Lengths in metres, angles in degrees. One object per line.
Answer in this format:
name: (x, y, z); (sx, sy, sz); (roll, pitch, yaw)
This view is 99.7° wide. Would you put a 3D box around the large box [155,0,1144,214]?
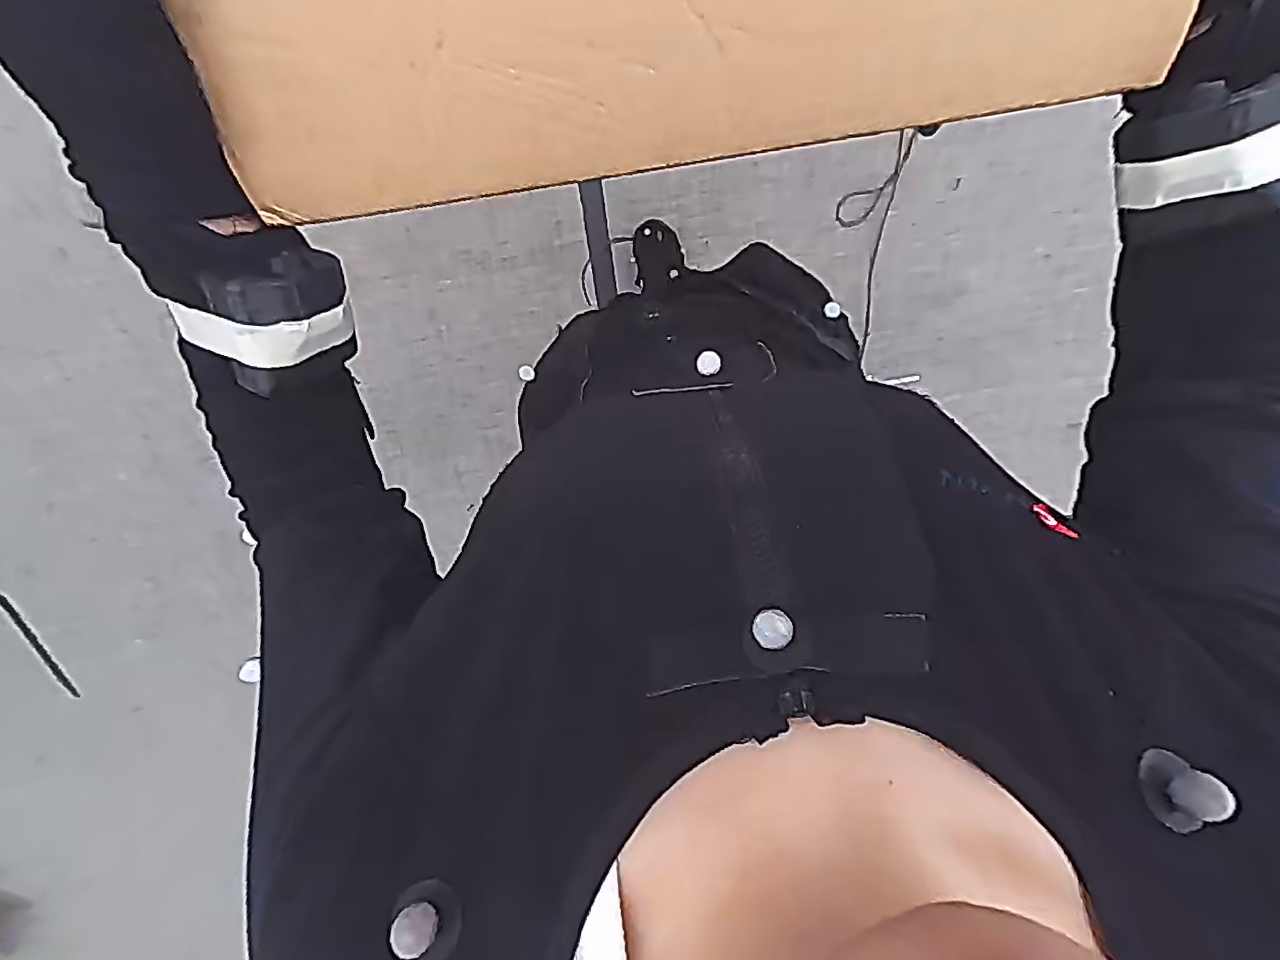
large box: (-0.008, -0.366, 0.259); (0.408, 0.320, 0.320); (-8, 131, 1)
